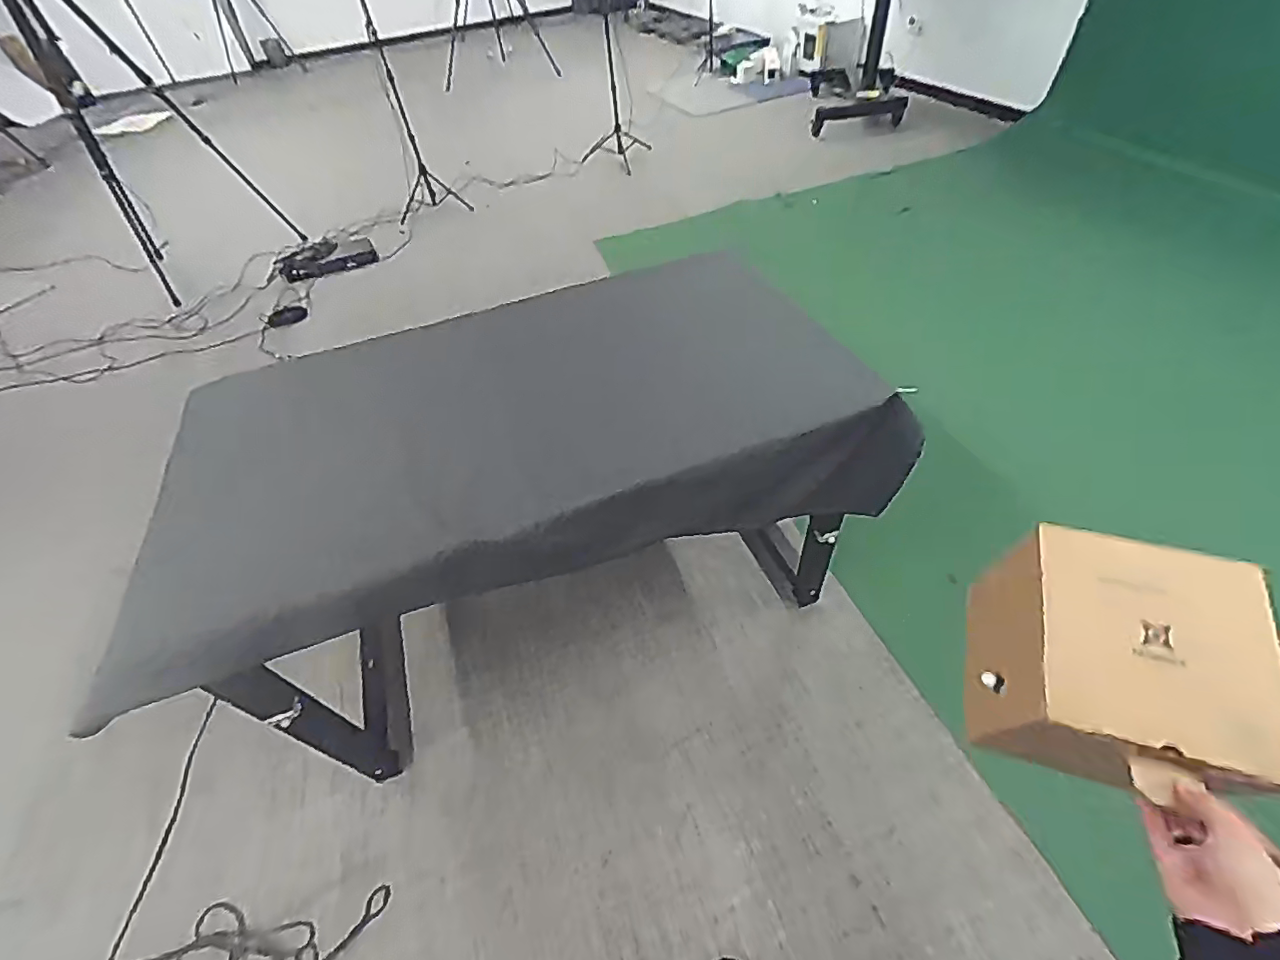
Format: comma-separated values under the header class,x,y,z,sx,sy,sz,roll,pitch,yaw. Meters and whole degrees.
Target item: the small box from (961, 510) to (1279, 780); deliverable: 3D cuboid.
class,x,y,z,sx,sy,sz,roll,pitch,yaw
small box,0.413,0.155,0.491,0.168,0.176,0.179,12,61,13
